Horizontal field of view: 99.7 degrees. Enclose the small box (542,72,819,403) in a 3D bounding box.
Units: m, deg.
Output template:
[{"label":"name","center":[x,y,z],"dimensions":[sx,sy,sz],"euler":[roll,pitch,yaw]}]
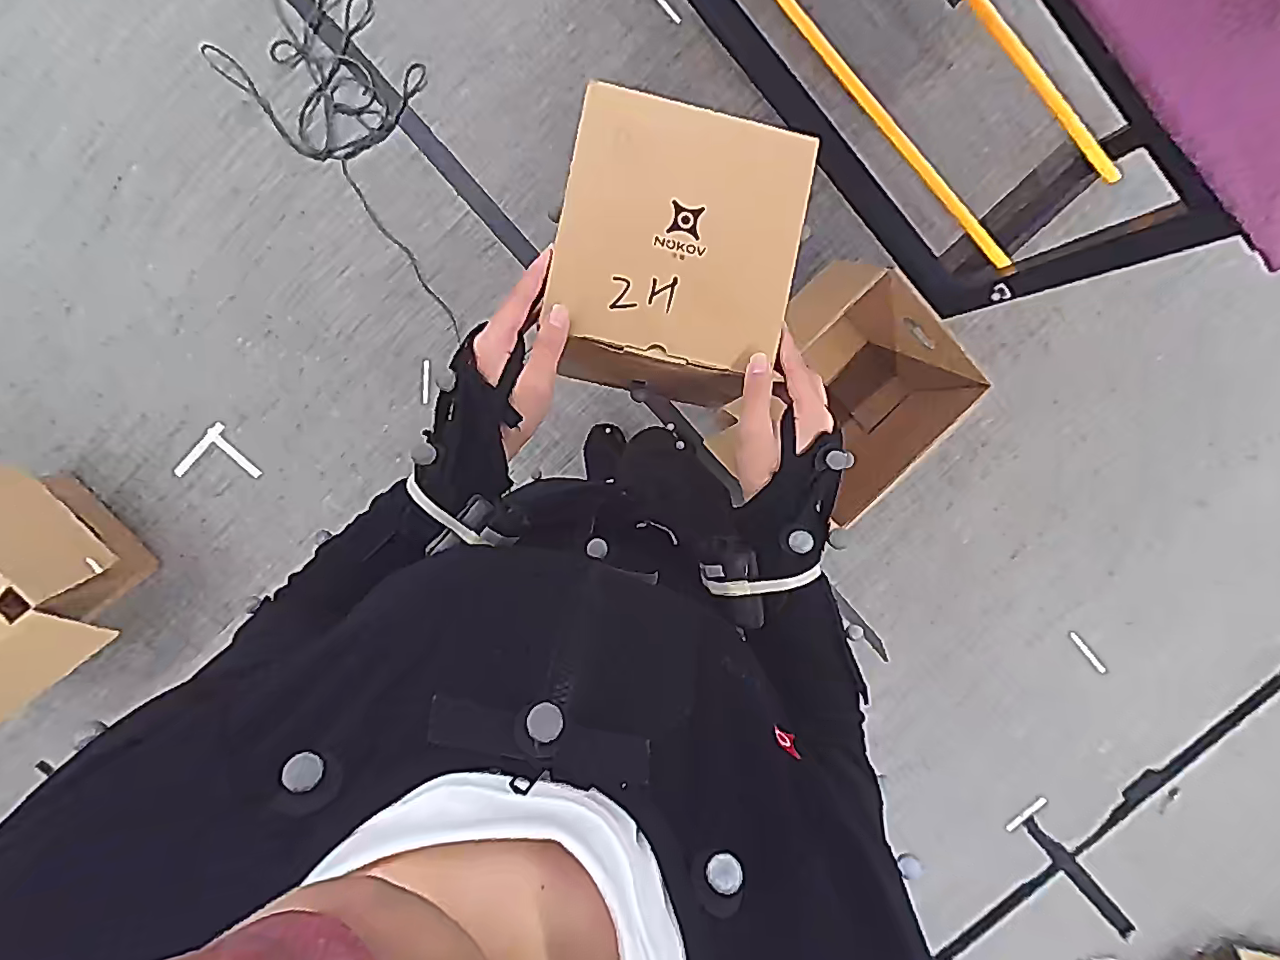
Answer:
[{"label":"small box","center":[0.023,-0.174,0.448],"dimensions":[0.168,0.176,0.179],"euler":[12,90,-4]}]
